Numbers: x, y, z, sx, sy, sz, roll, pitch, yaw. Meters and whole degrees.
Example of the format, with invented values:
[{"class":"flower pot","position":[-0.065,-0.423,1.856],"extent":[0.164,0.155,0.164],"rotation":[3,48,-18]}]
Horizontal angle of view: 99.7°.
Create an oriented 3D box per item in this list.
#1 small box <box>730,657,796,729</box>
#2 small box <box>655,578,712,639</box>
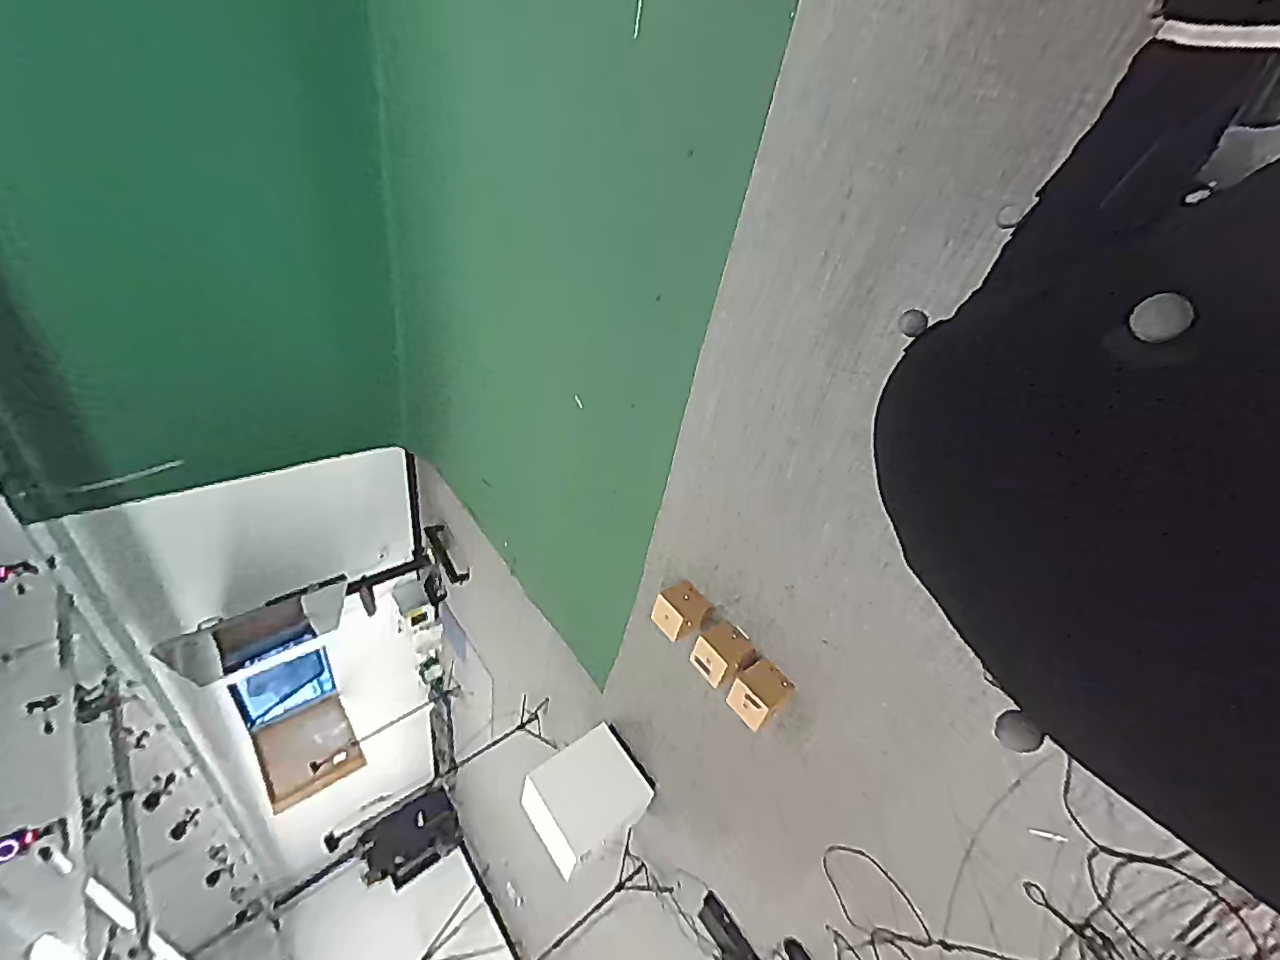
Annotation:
[{"class":"small box","position":[0.493,0.839,2.148],"extent":[0.168,0.176,0.179],"rotation":[41,135,33]},{"class":"small box","position":[0.198,0.567,2.414],"extent":[0.168,0.176,0.179],"rotation":[43,136,34]}]
